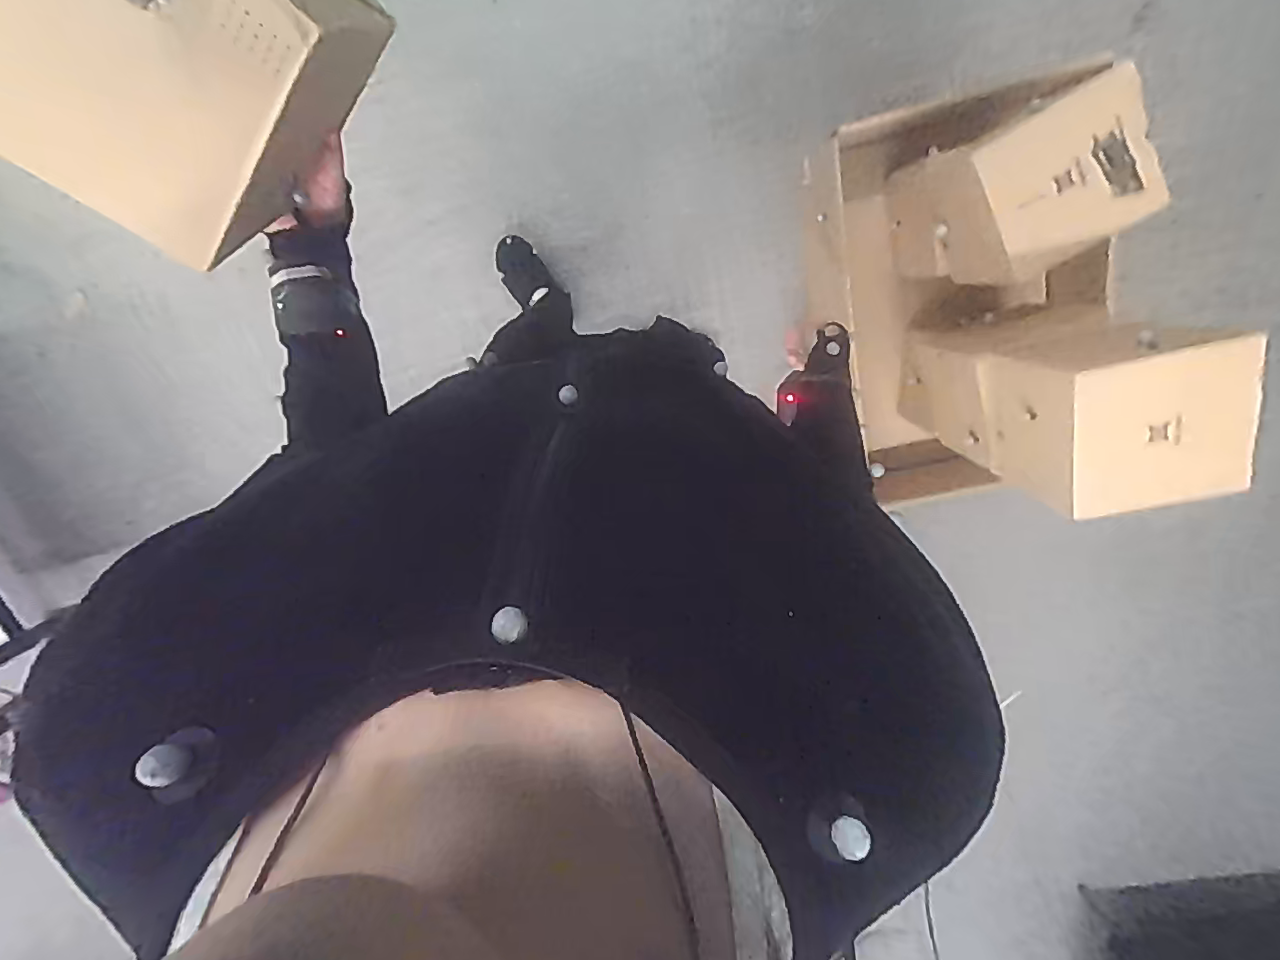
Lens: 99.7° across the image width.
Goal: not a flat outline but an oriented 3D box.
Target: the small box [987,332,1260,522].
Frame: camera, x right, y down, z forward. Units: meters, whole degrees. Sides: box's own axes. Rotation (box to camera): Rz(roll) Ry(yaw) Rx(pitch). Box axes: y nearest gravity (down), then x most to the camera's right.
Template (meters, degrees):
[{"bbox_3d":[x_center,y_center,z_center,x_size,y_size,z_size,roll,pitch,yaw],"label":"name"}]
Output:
[{"bbox_3d":[0.531,-0.070,0.626,0.179,0.176,0.168,-12,108,6],"label":"small box"}]

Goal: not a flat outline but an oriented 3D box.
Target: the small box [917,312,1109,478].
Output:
[{"bbox_3d":[0.530,-0.129,0.777,0.168,0.176,0.179,-20,106,8],"label":"small box"}]

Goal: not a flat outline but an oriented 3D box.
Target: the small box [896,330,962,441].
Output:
[{"bbox_3d":[0.565,-0.168,0.937,0.179,0.176,0.168,-2,109,4],"label":"small box"}]

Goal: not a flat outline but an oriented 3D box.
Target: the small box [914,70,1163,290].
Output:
[{"bbox_3d":[0.493,-0.364,0.692,0.179,0.176,0.168,-28,106,13],"label":"small box"}]
